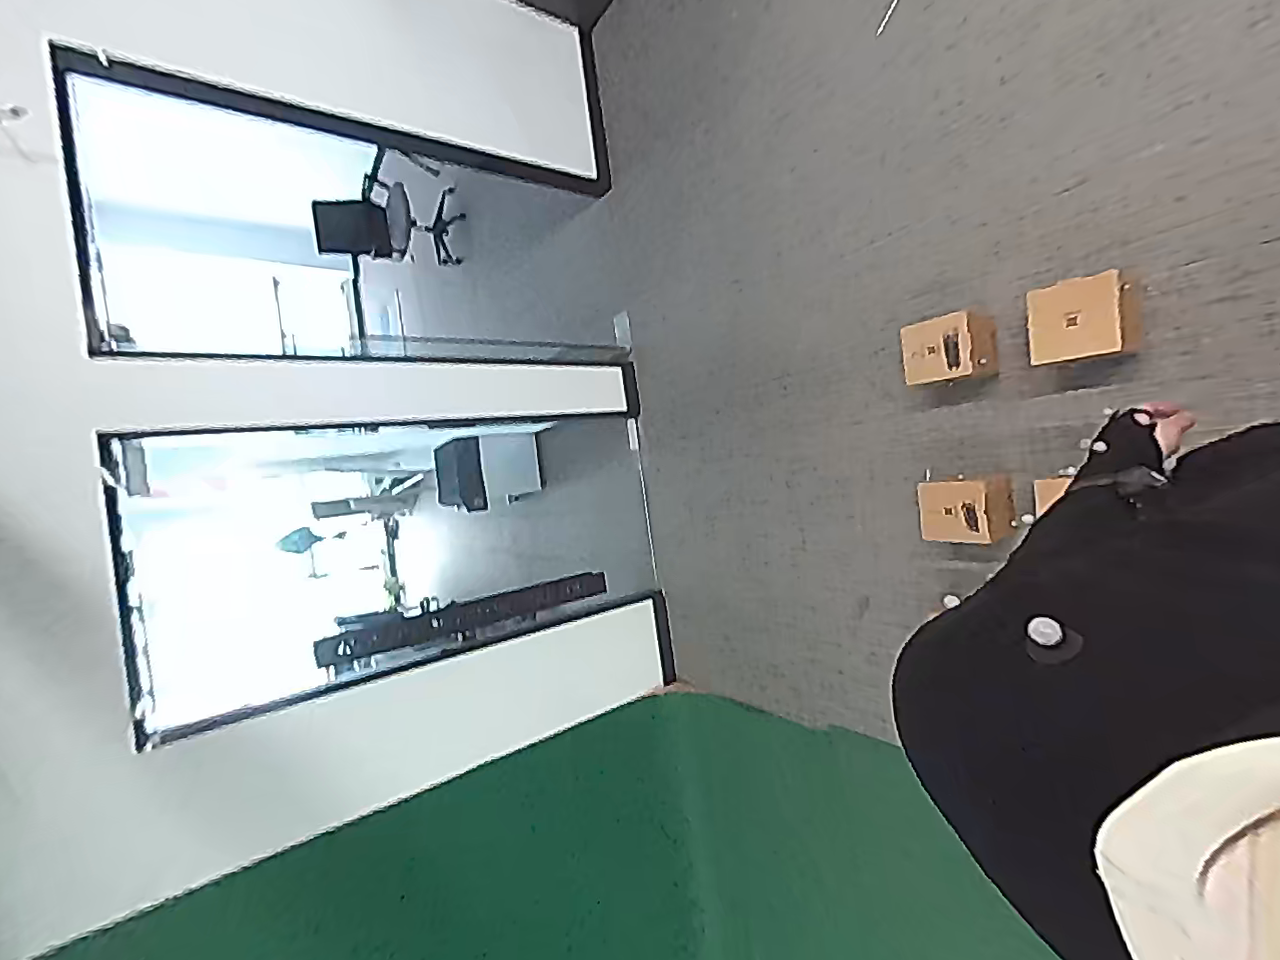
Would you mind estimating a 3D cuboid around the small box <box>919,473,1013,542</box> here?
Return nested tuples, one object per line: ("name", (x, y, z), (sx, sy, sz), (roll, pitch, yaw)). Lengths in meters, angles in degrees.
("small box", (0.904, 0.071, 1.493), (0.179, 0.176, 0.168), (-3, 94, 56))

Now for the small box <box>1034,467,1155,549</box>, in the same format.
("small box", (1.063, 0.061, 1.266), (0.179, 0.176, 0.168), (-4, 94, 55))

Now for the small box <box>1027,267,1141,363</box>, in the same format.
("small box", (1.023, -0.371, 1.245), (0.168, 0.176, 0.179), (-3, 93, 55))
